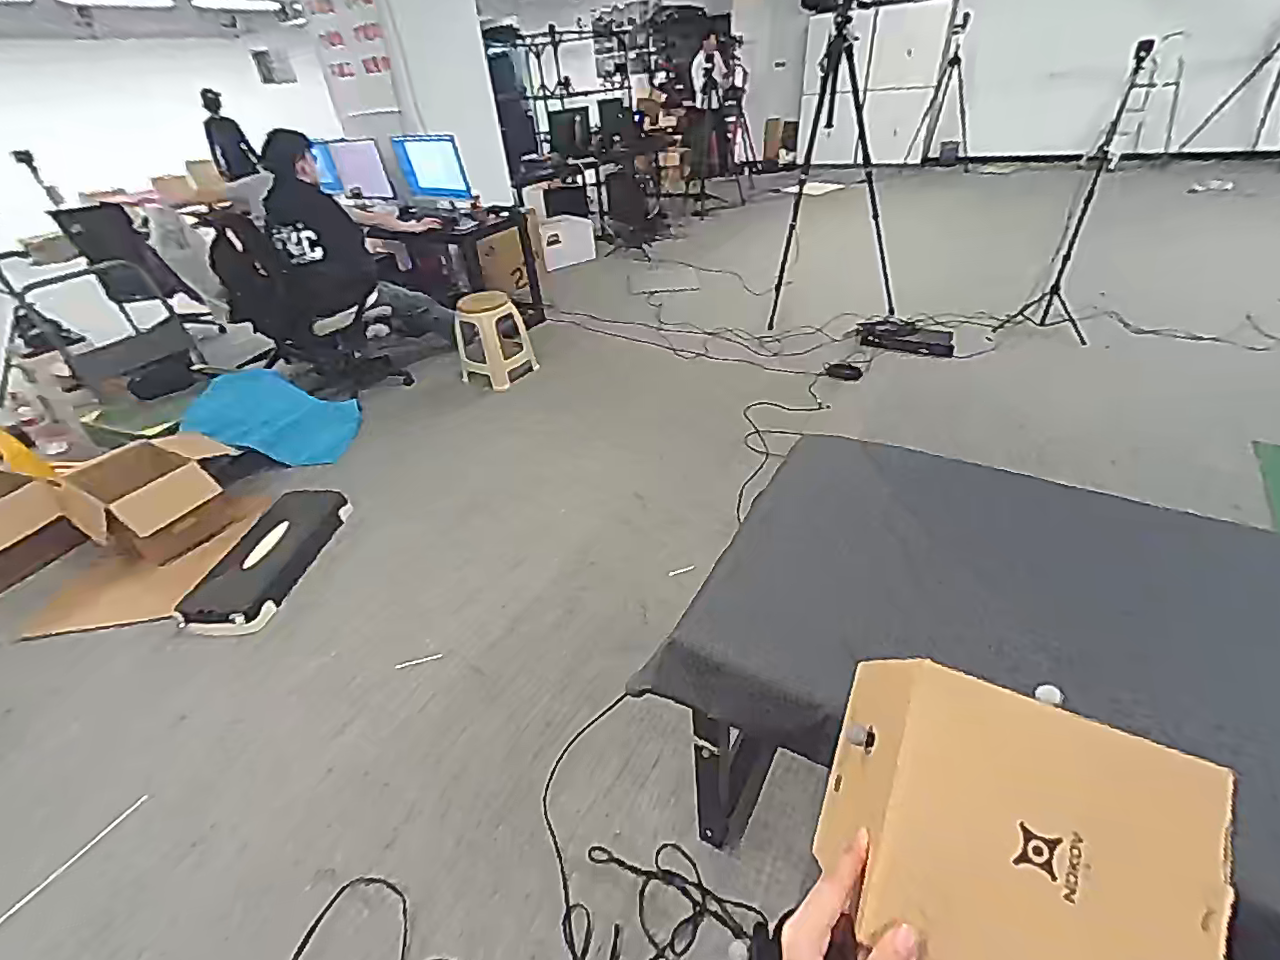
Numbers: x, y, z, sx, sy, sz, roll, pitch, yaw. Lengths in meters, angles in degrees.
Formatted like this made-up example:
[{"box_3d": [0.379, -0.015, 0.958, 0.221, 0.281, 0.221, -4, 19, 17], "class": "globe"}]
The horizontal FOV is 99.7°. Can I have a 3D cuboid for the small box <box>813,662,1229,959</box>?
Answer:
[{"box_3d": [0.236, 0.241, 0.379, 0.179, 0.176, 0.168, 18, 74, 12], "class": "small box"}]
